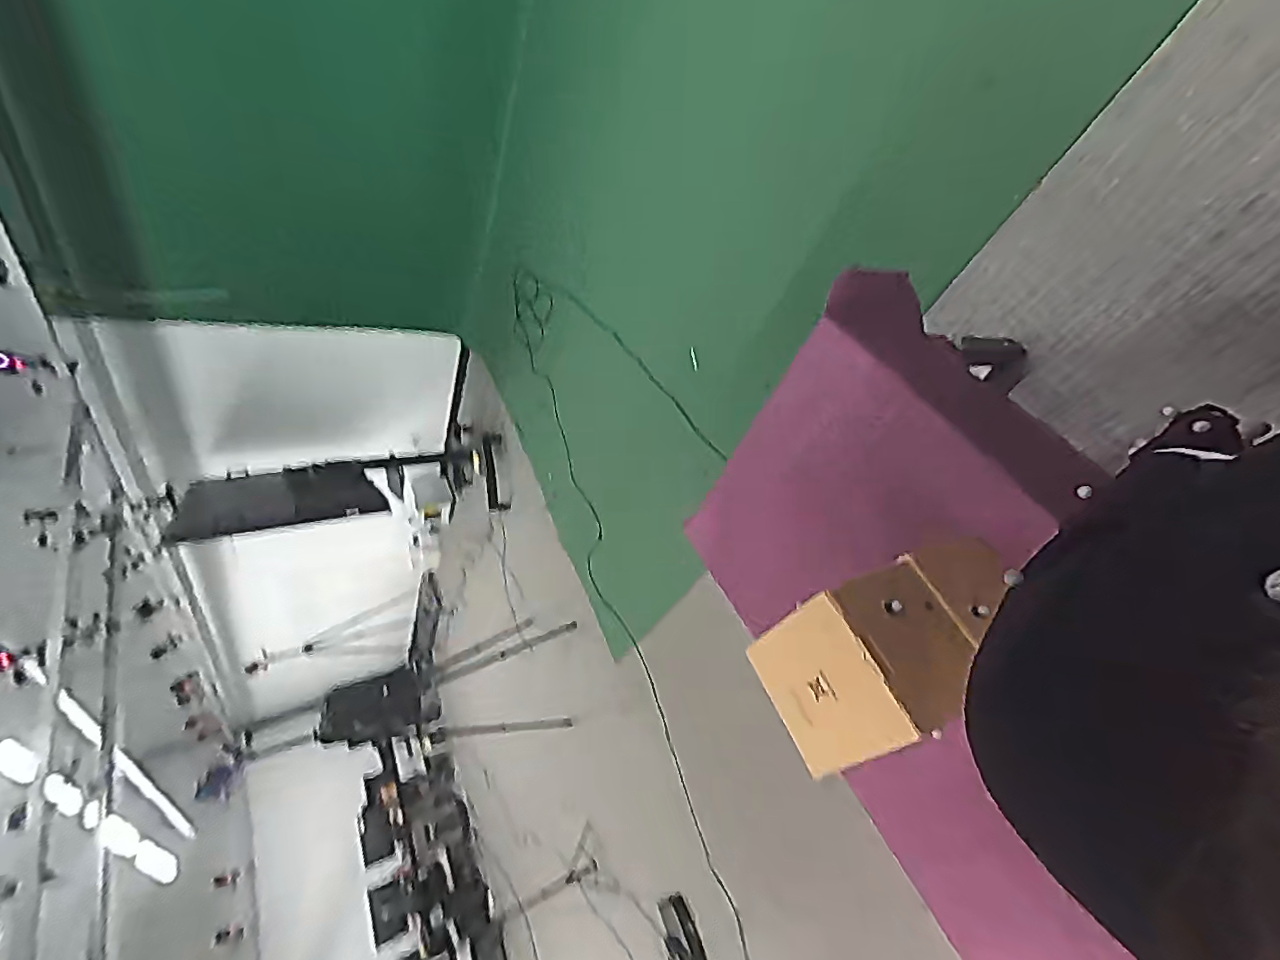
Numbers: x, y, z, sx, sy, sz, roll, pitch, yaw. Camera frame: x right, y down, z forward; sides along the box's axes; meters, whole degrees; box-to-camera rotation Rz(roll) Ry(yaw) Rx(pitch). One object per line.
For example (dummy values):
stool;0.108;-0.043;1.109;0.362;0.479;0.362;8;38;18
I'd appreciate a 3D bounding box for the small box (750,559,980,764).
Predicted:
small box;0.278;0.217;0.670;0.168;0.176;0.179;63;143;27
